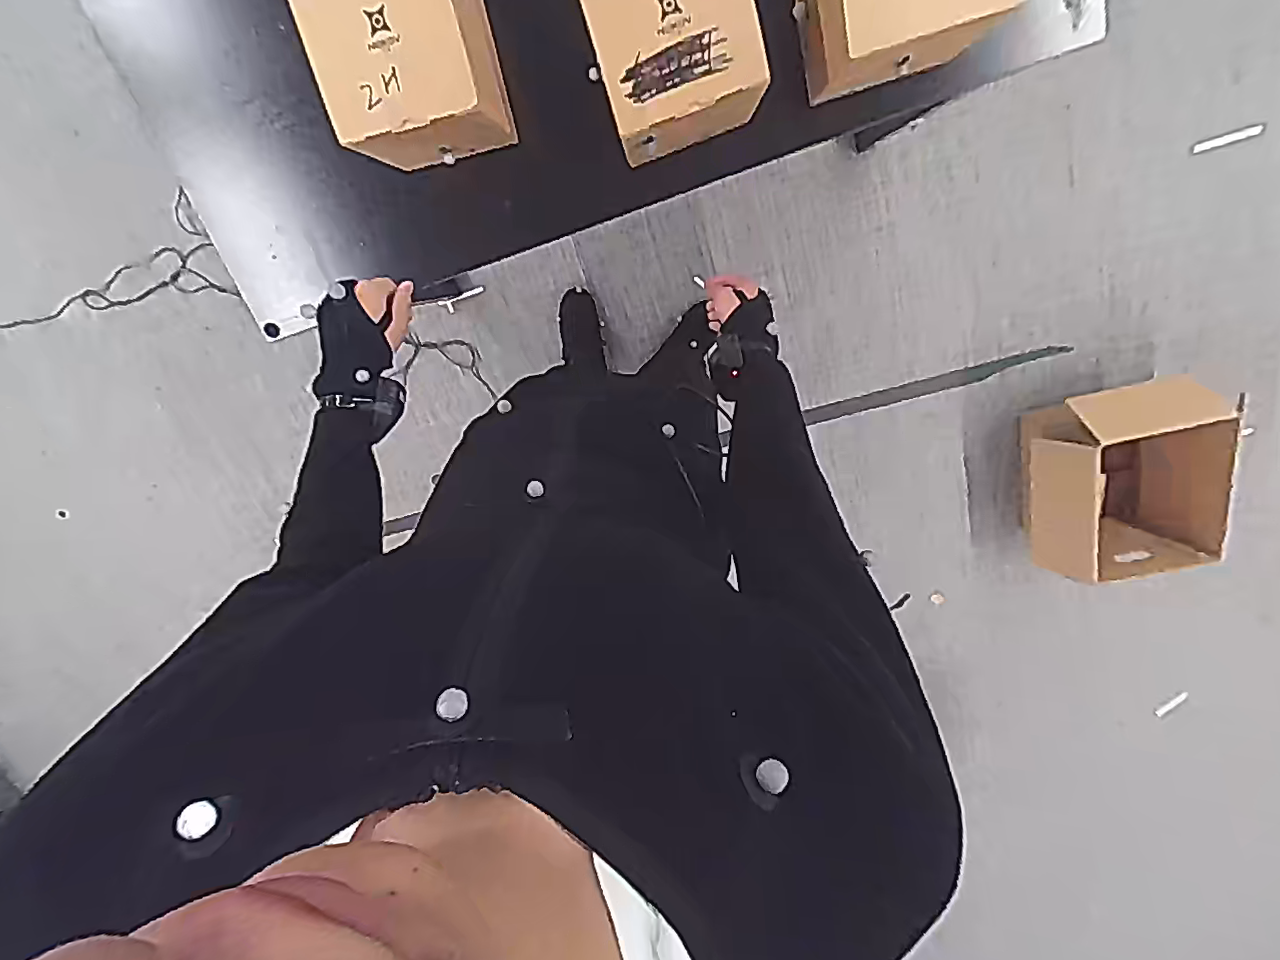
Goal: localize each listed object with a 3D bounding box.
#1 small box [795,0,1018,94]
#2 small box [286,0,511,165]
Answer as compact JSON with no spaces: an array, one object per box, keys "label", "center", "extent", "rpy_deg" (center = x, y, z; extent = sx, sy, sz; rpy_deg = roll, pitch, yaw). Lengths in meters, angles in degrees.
[{"label":"small box","center":[0.273,-0.551,0.576],"extent":[0.179,0.176,0.168],"rpy_deg":[-13,110,9]},{"label":"small box","center":[-0.265,-0.490,0.622],"extent":[0.168,0.176,0.179],"rpy_deg":[-10,111,7]}]
